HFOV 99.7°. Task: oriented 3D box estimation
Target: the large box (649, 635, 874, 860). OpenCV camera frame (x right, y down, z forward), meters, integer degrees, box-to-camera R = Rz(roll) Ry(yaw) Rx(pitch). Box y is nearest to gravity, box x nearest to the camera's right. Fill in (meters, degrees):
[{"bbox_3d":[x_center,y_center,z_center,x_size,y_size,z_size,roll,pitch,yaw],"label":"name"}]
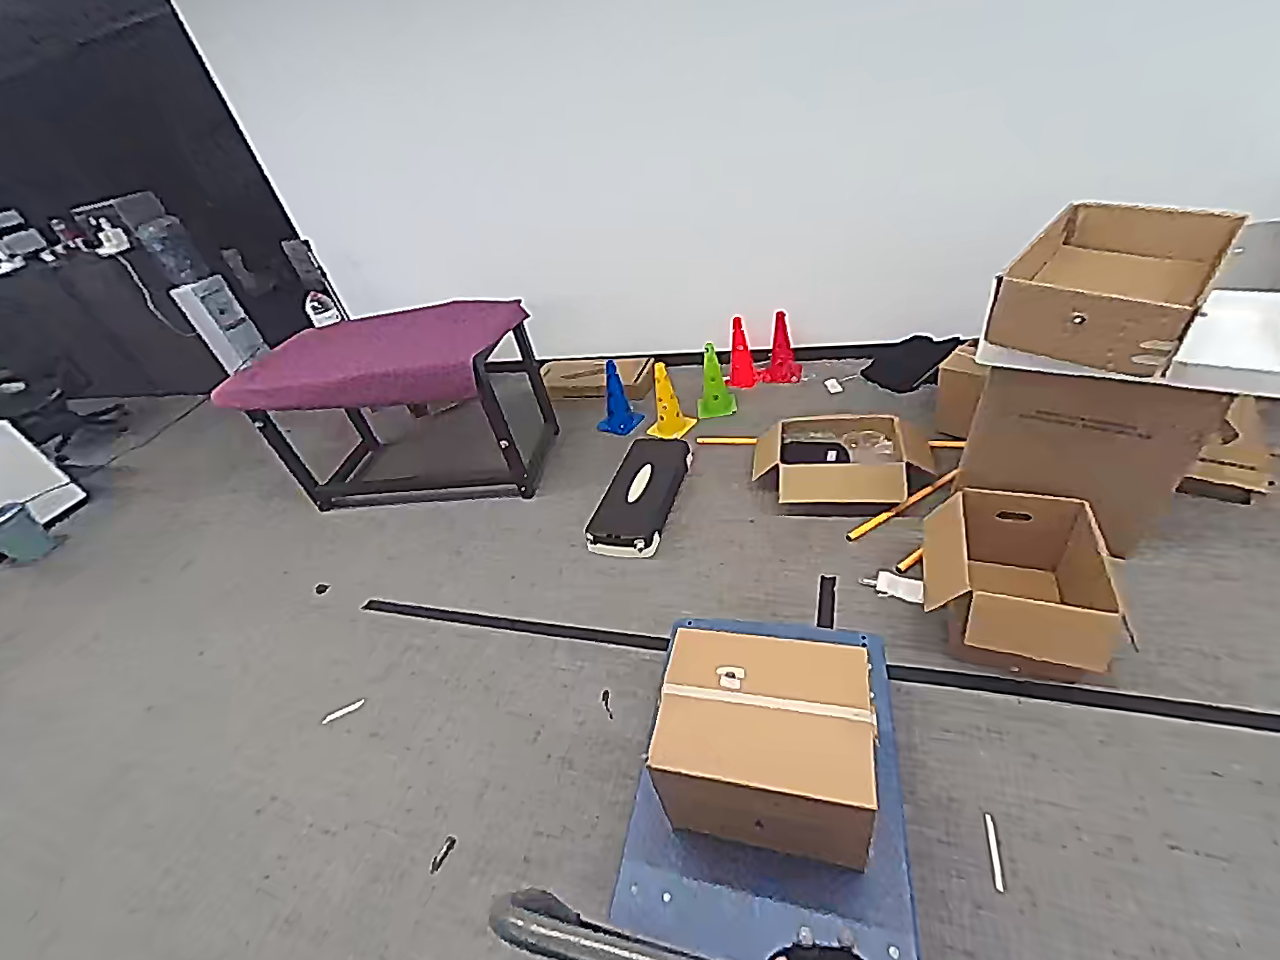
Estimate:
[{"bbox_3d":[0.271,0.566,1.170,0.408,0.320,0.320,-1,39,18],"label":"large box"}]
